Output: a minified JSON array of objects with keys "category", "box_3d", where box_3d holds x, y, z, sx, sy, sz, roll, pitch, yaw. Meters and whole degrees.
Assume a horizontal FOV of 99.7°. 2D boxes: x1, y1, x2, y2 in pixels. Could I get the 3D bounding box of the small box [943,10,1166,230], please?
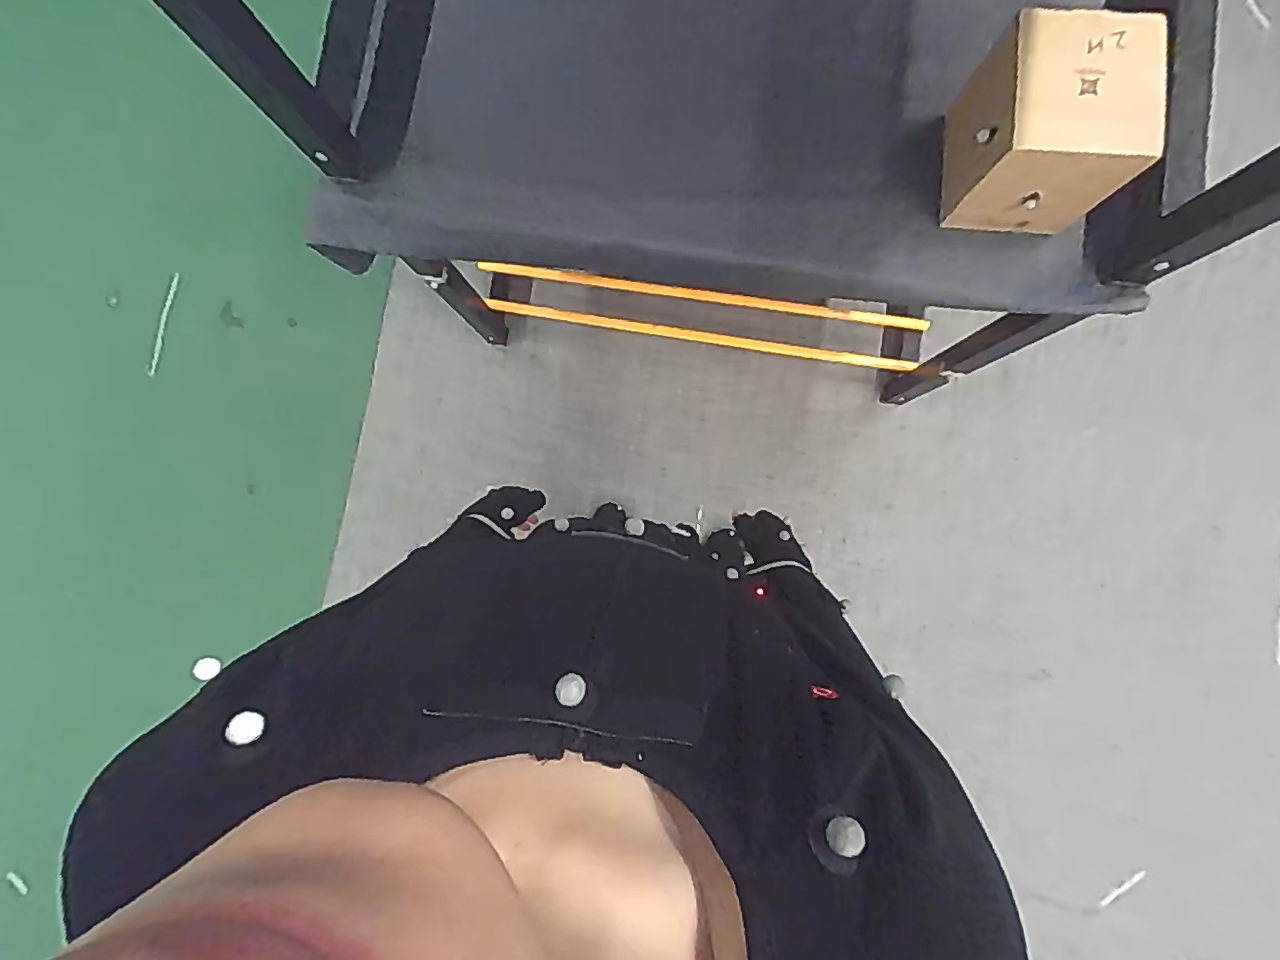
[{"category":"small box","box_3d":[0.518,-0.450,0.700,0.168,0.176,0.179,5,86,3]}]
